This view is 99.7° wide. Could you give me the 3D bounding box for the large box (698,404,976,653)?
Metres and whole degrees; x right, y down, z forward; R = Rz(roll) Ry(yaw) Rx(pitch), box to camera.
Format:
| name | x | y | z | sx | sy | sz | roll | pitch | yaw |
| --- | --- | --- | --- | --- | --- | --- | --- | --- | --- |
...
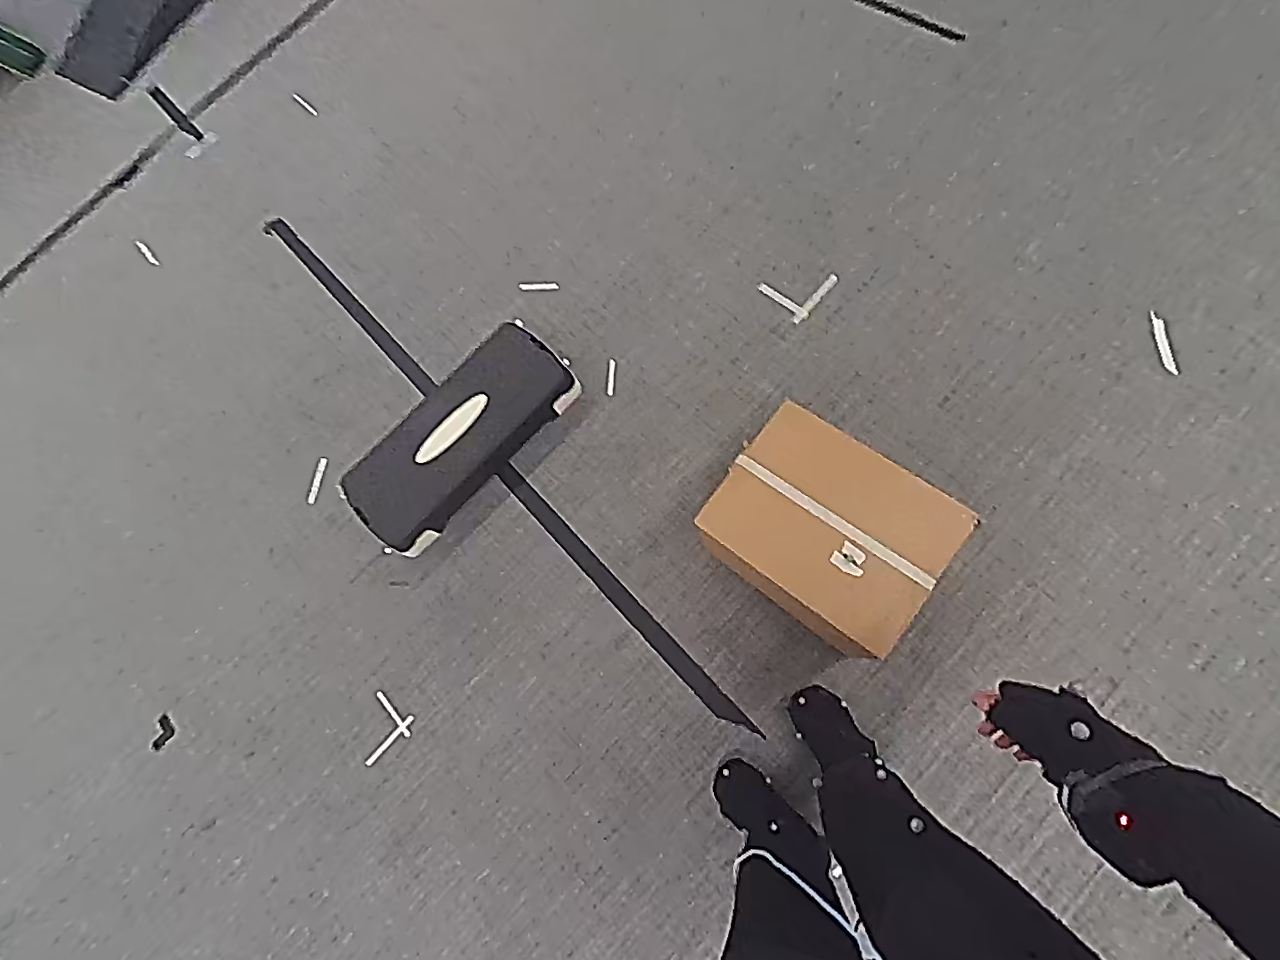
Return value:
| name | x | y | z | sx | sy | sz | roll | pitch | yaw |
| --- | --- | --- | --- | --- | --- | --- | --- | --- | --- |
| large box | 0.375 | 0.112 | 1.137 | 0.408 | 0.320 | 0.320 | 36 | 83 | 17 |
